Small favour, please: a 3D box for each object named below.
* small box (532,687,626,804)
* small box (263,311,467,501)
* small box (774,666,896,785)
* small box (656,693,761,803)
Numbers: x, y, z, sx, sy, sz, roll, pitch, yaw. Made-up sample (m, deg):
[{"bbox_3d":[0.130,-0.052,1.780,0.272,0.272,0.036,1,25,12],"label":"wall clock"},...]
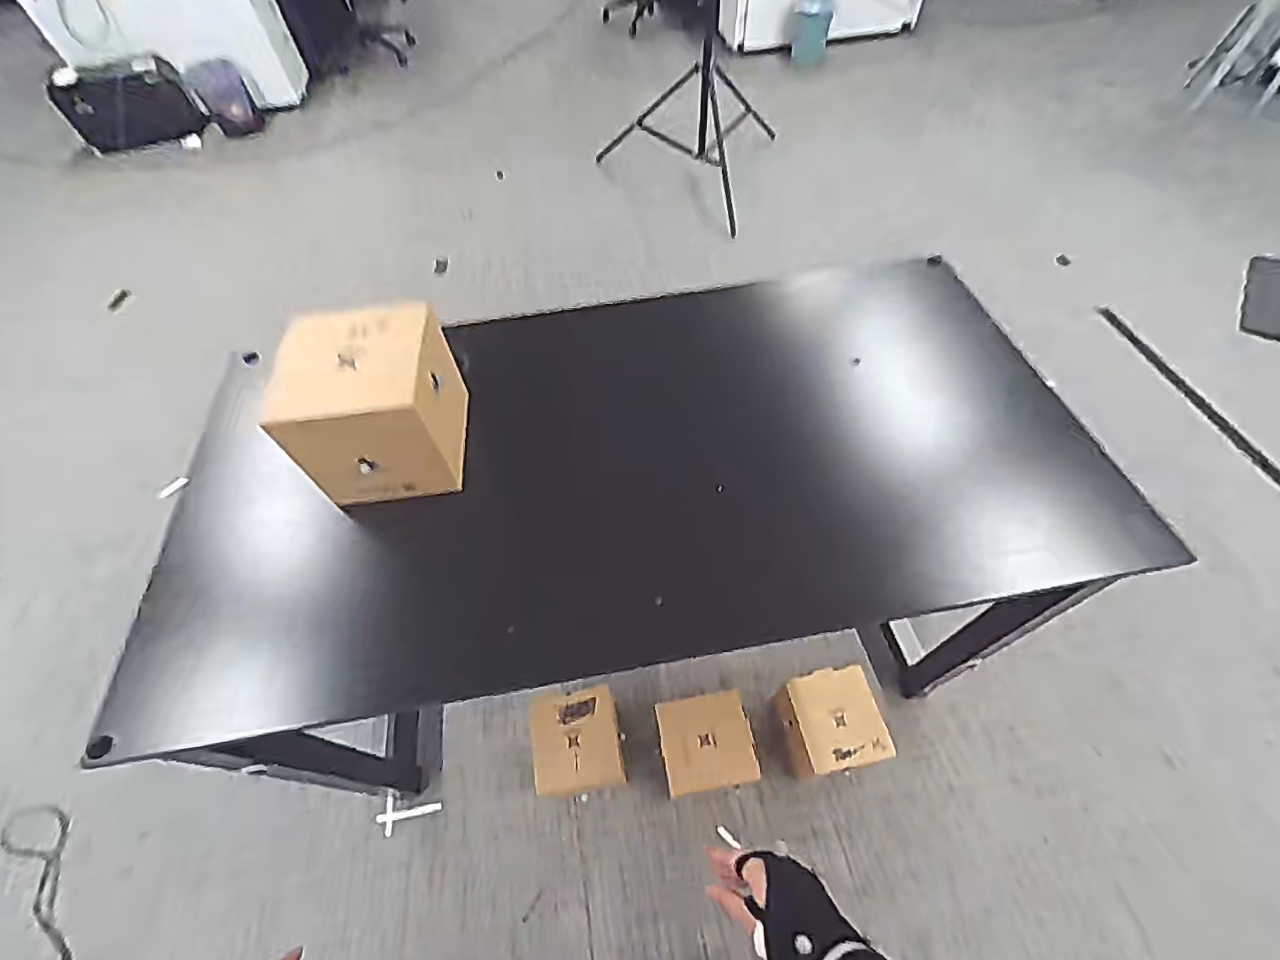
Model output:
[{"bbox_3d":[-0.125,0.555,1.125,0.168,0.176,0.179,-11,56,-4],"label":"small box"},{"bbox_3d":[-0.330,-0.086,0.693,0.168,0.176,0.179,-7,55,-3],"label":"small box"},{"bbox_3d":[0.392,0.513,1.126,0.168,0.176,0.179,-11,55,-4],"label":"small box"},{"bbox_3d":[0.133,0.554,1.114,0.179,0.176,0.168,-10,55,-3],"label":"small box"}]
